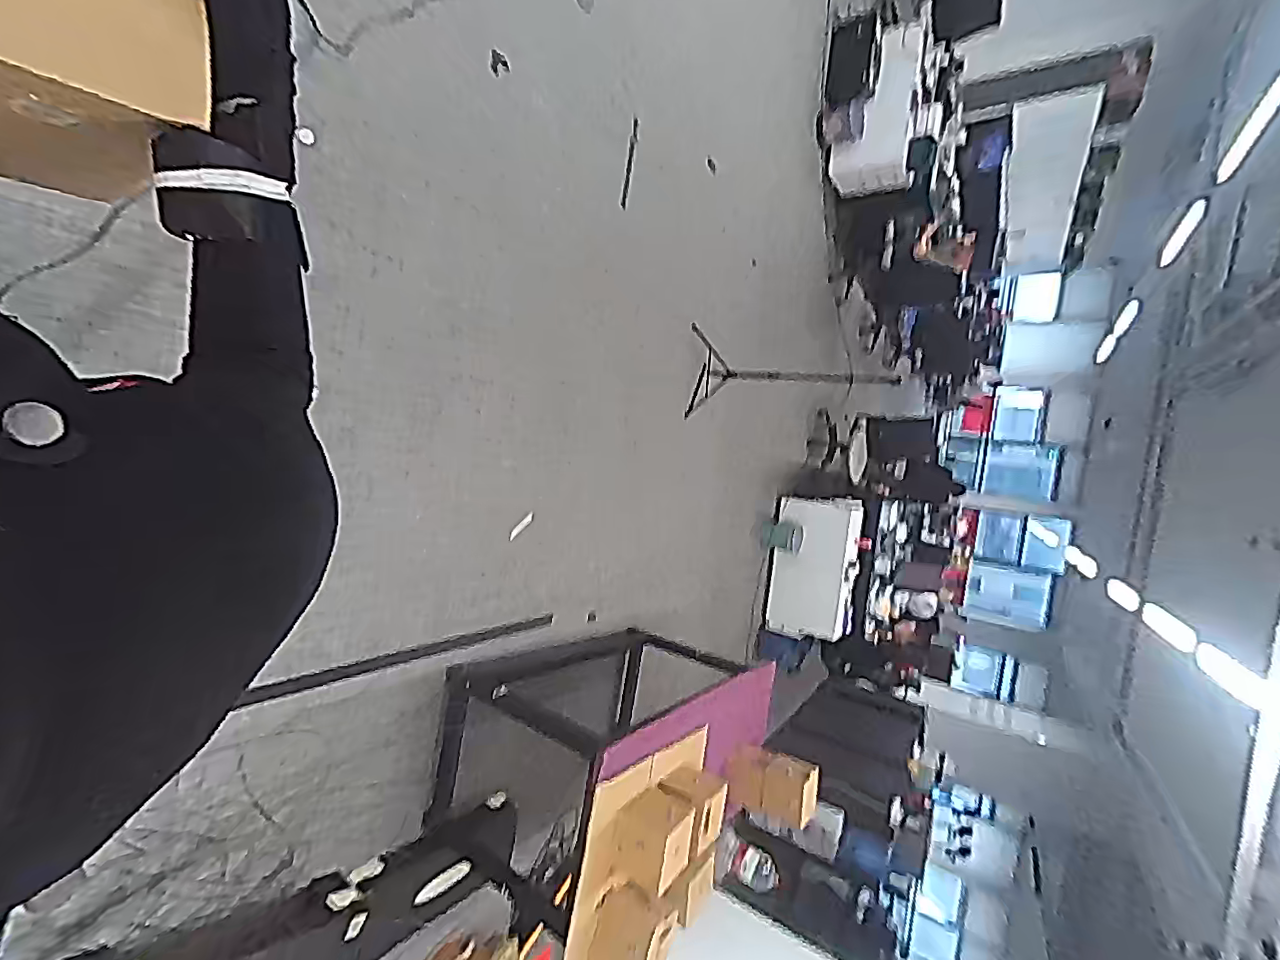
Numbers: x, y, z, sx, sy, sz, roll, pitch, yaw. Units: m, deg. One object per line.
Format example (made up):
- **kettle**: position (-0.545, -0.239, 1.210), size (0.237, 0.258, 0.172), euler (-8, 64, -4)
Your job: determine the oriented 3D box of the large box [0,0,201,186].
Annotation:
- **large box**: position (-0.531, -0.403, 0.279), size (0.408, 0.320, 0.320), euler (-7, 105, -53)
